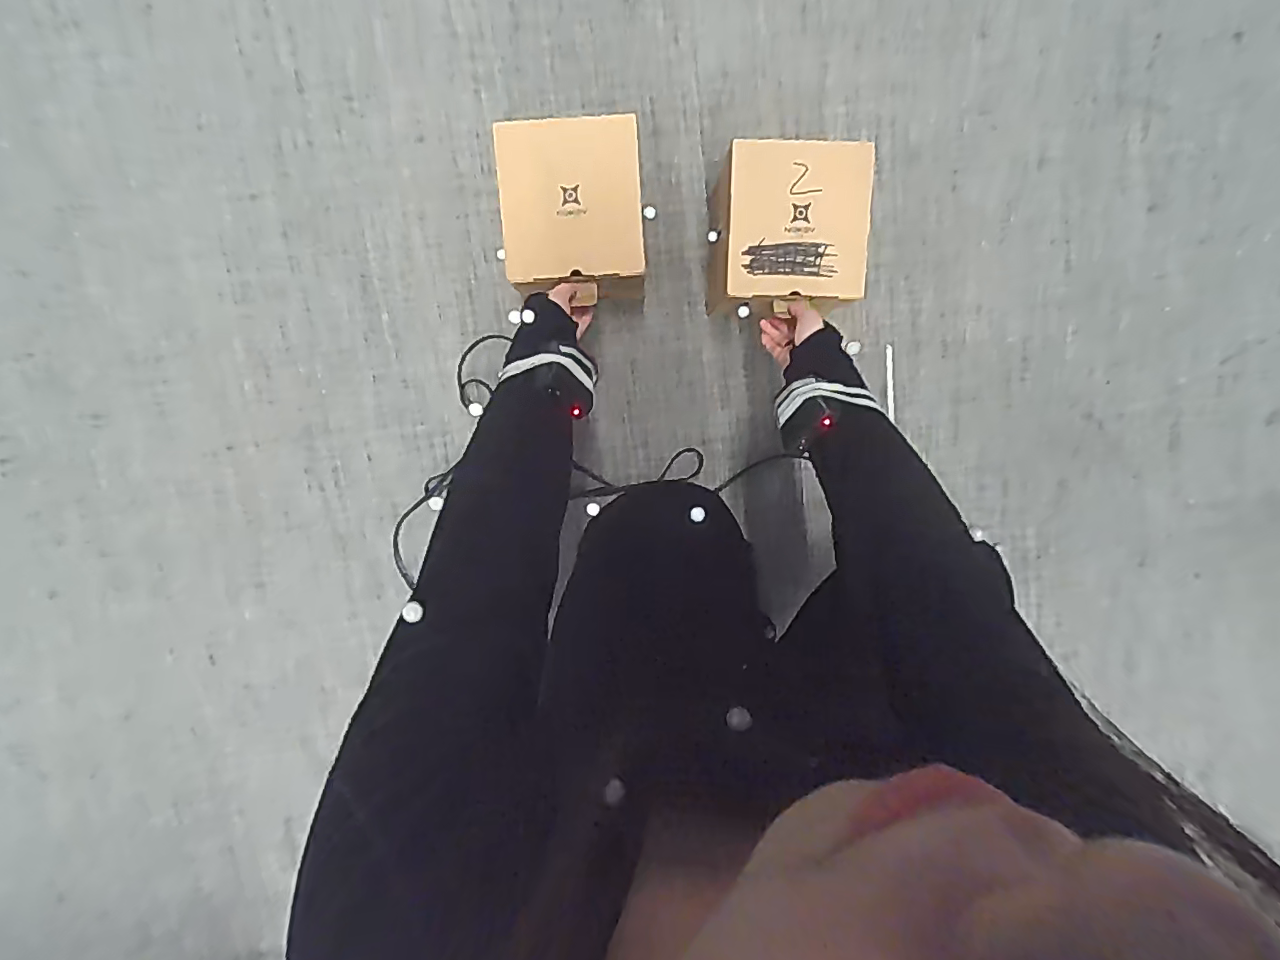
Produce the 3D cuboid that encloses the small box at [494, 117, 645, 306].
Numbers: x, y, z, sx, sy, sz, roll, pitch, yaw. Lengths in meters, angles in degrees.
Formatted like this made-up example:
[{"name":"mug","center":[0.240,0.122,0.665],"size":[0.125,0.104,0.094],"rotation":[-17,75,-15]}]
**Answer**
[{"name":"small box","center":[-0.081,-0.335,0.708],"size":[0.168,0.176,0.179],"rotation":[-4,100,2]}]
